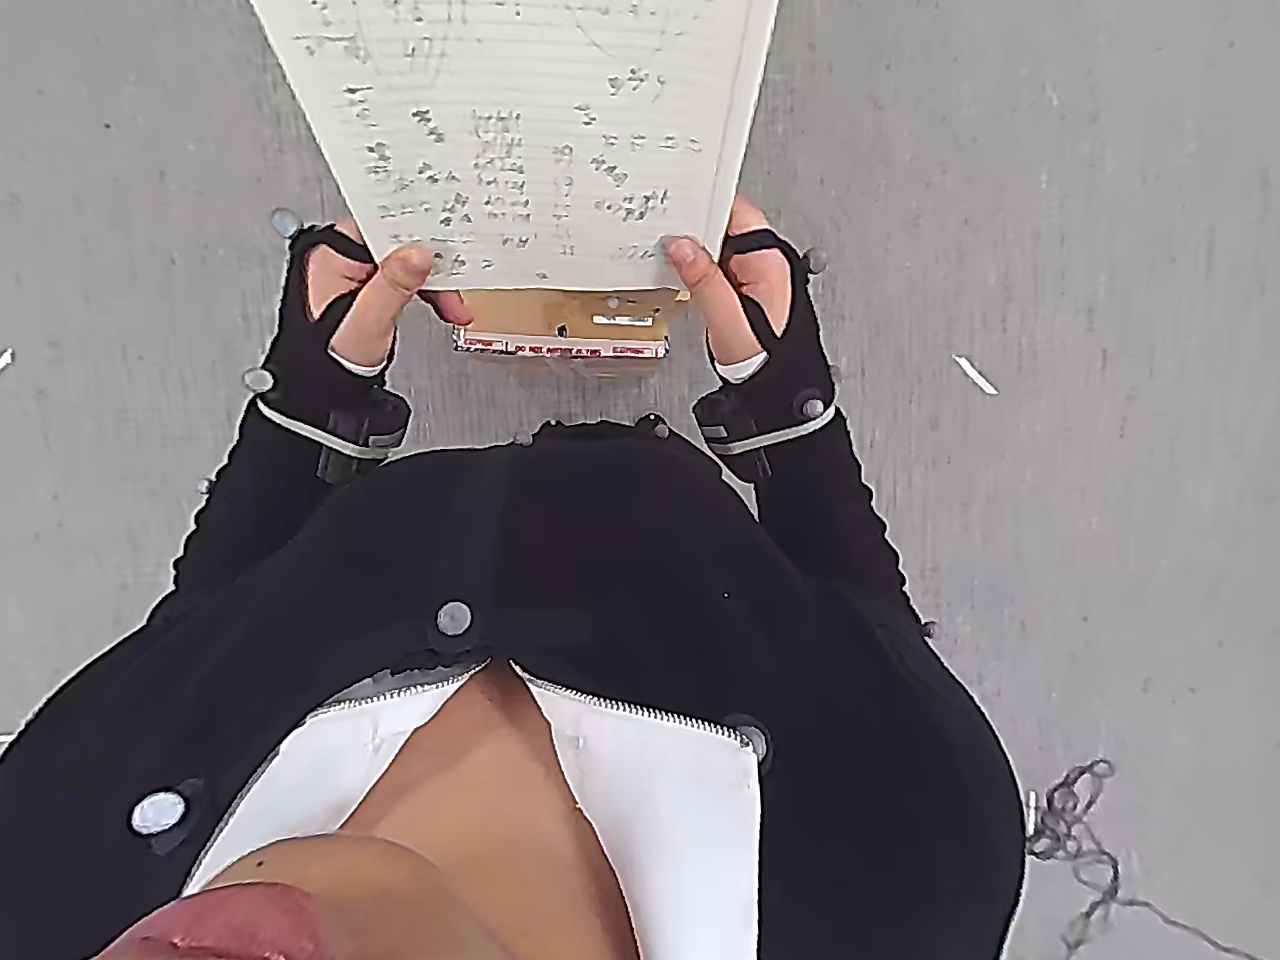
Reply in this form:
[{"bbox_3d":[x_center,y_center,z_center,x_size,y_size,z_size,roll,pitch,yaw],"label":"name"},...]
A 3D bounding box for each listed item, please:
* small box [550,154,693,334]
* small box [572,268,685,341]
[{"bbox_3d":[-0.031,-0.307,0.740,0.168,0.176,0.179,4,98,-5],"label":"small box"},{"bbox_3d":[-0.024,-0.329,0.904,0.179,0.176,0.168,0,97,-4],"label":"small box"}]
